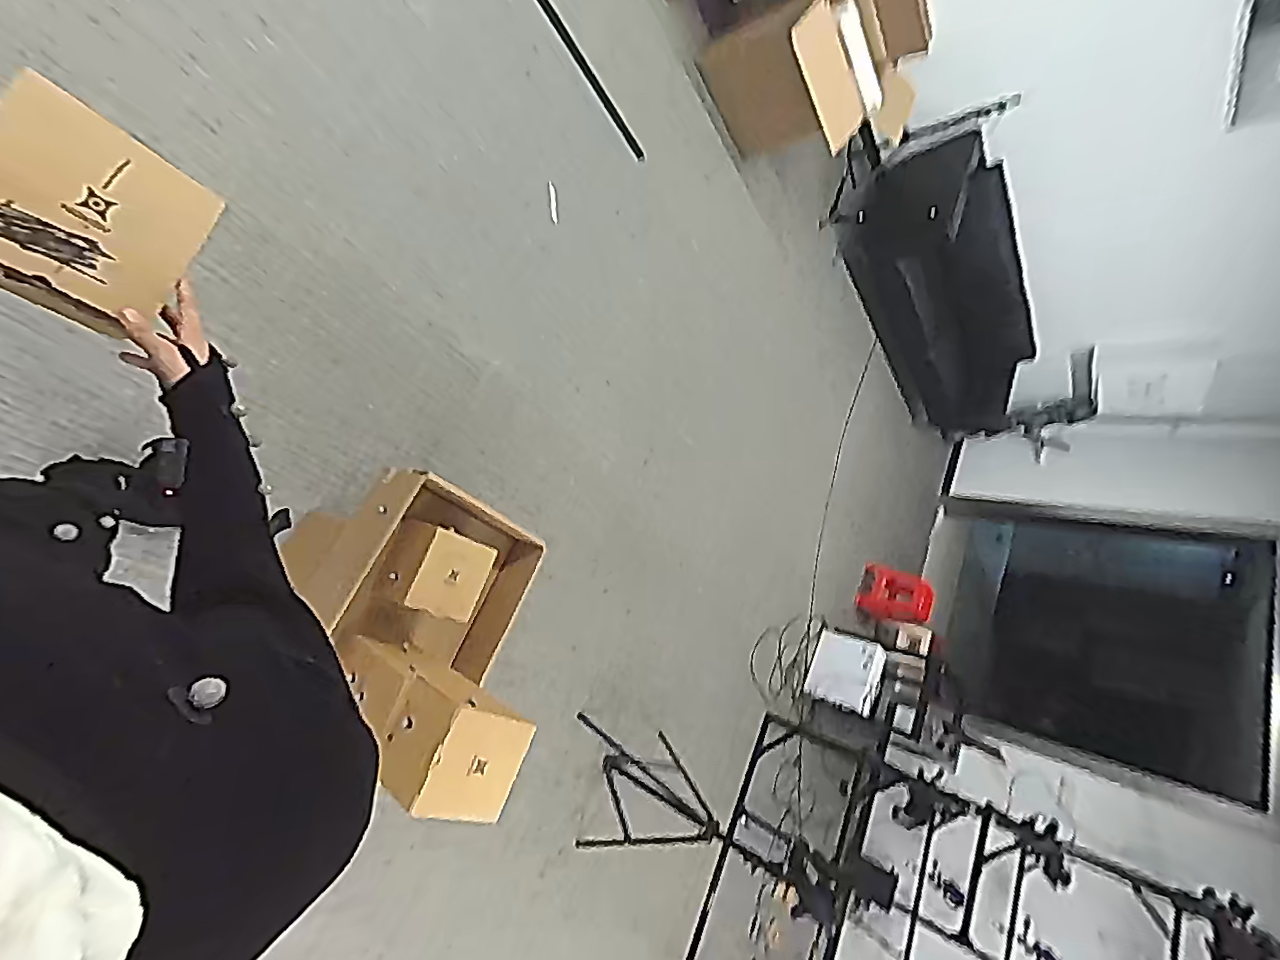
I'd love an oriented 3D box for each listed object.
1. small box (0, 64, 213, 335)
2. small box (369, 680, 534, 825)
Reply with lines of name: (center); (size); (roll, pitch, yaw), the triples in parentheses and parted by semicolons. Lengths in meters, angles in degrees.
small box: (-0.602, -0.269, 0.567); (0.168, 0.176, 0.179); (34, 69, -49)
small box: (-0.326, 0.468, 0.939); (0.179, 0.176, 0.168); (39, 66, -41)
